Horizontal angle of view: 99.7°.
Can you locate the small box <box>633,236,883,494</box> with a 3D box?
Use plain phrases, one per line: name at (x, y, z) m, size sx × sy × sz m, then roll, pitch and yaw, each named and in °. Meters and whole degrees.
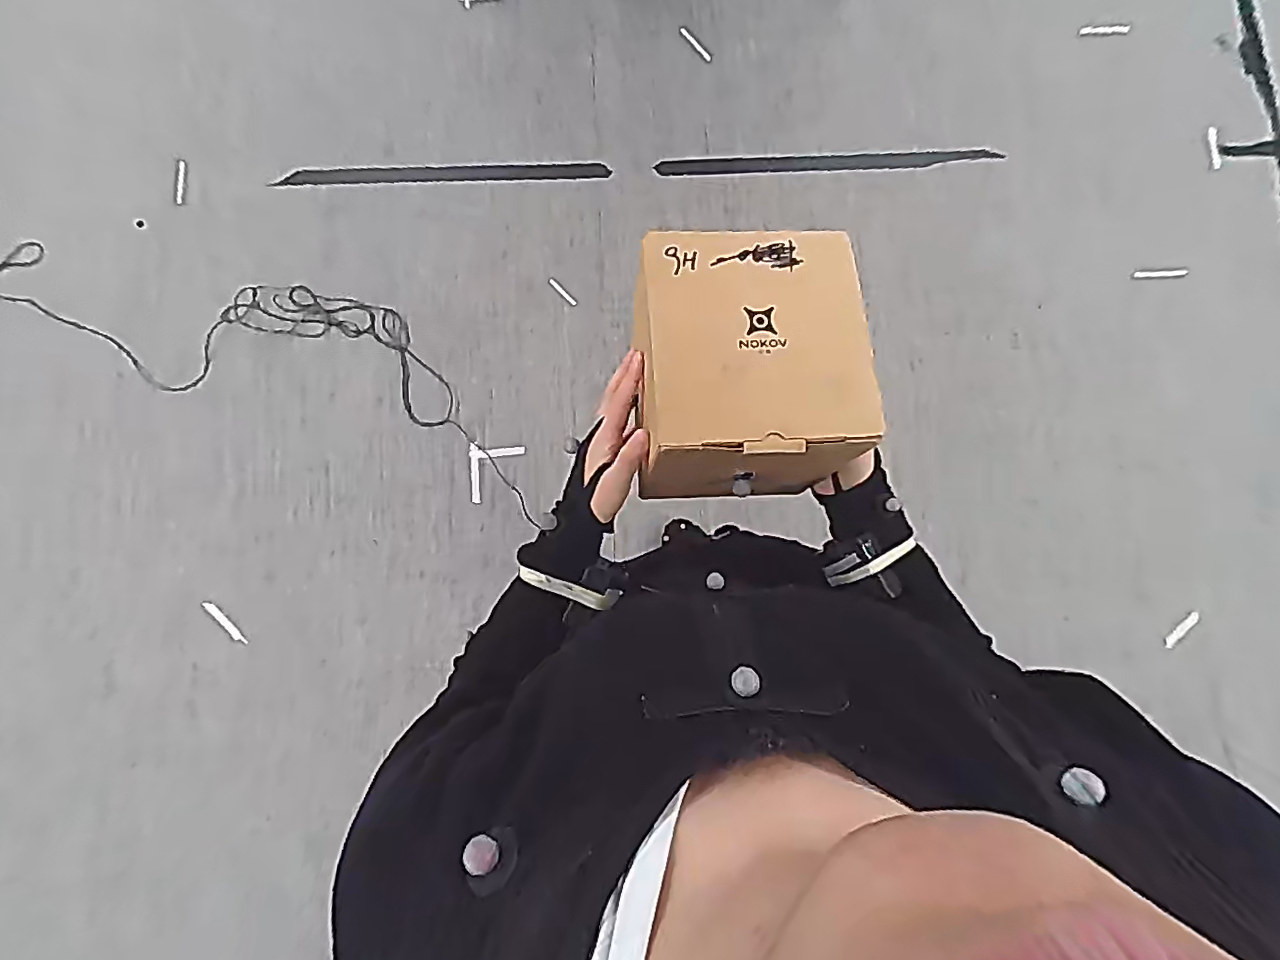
small box at (0.083, -0.085, 0.475) m, size 0.168 × 0.176 × 0.179 m, roll -2°, pitch 77°, yaw -5°
